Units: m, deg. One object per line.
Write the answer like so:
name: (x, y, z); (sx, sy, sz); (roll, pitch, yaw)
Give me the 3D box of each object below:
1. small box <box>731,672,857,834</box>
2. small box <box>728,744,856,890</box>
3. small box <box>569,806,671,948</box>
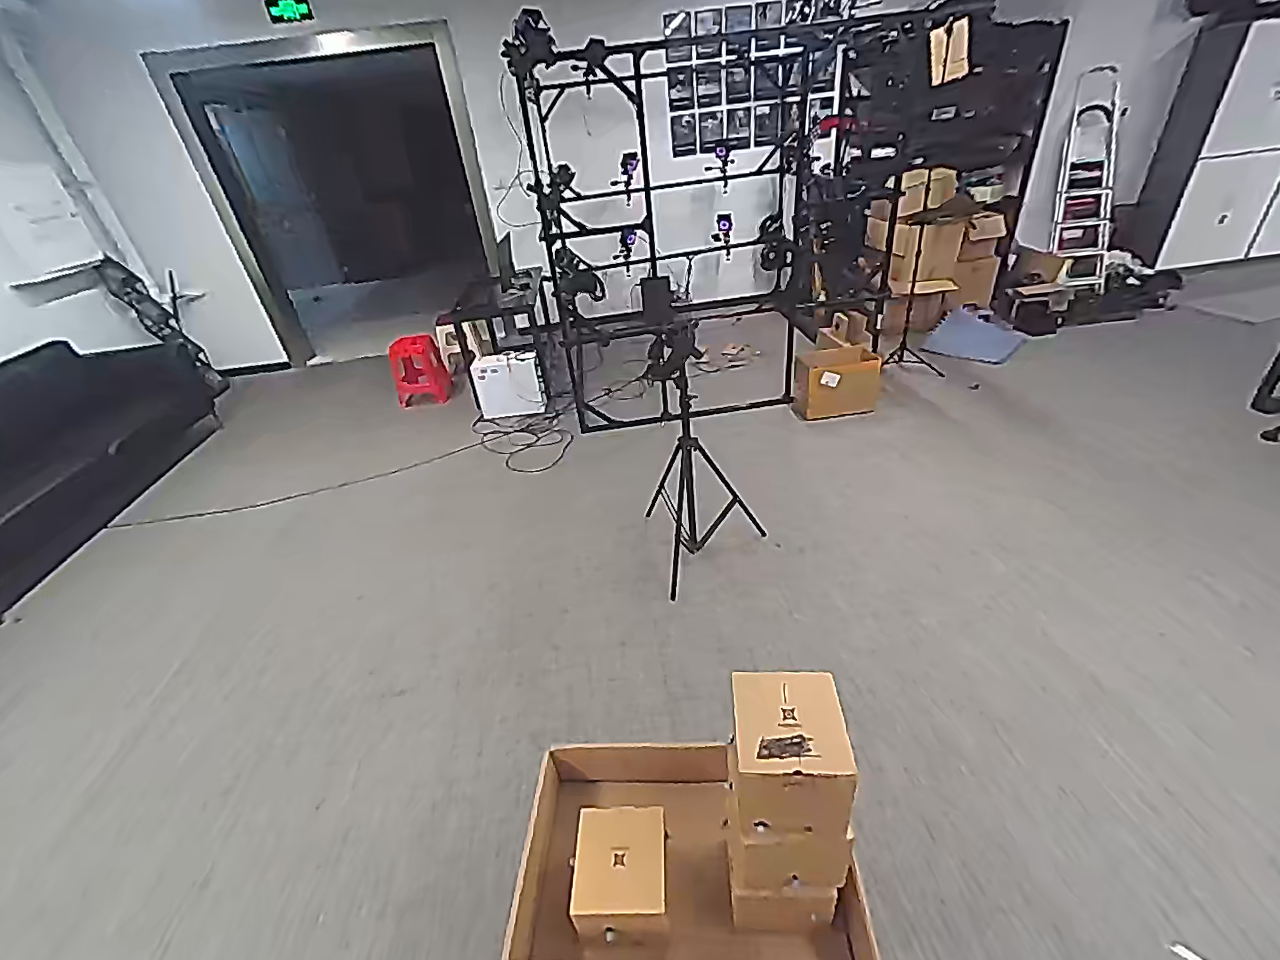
small box: (0.234, 0.430, 0.857); (0.168, 0.176, 0.179); (-2, 32, 7)
small box: (0.249, 0.577, 0.932); (0.179, 0.176, 0.168); (-4, 32, 3)
small box: (-0.029, 0.751, 1.022); (0.168, 0.176, 0.179); (-4, 32, 4)
